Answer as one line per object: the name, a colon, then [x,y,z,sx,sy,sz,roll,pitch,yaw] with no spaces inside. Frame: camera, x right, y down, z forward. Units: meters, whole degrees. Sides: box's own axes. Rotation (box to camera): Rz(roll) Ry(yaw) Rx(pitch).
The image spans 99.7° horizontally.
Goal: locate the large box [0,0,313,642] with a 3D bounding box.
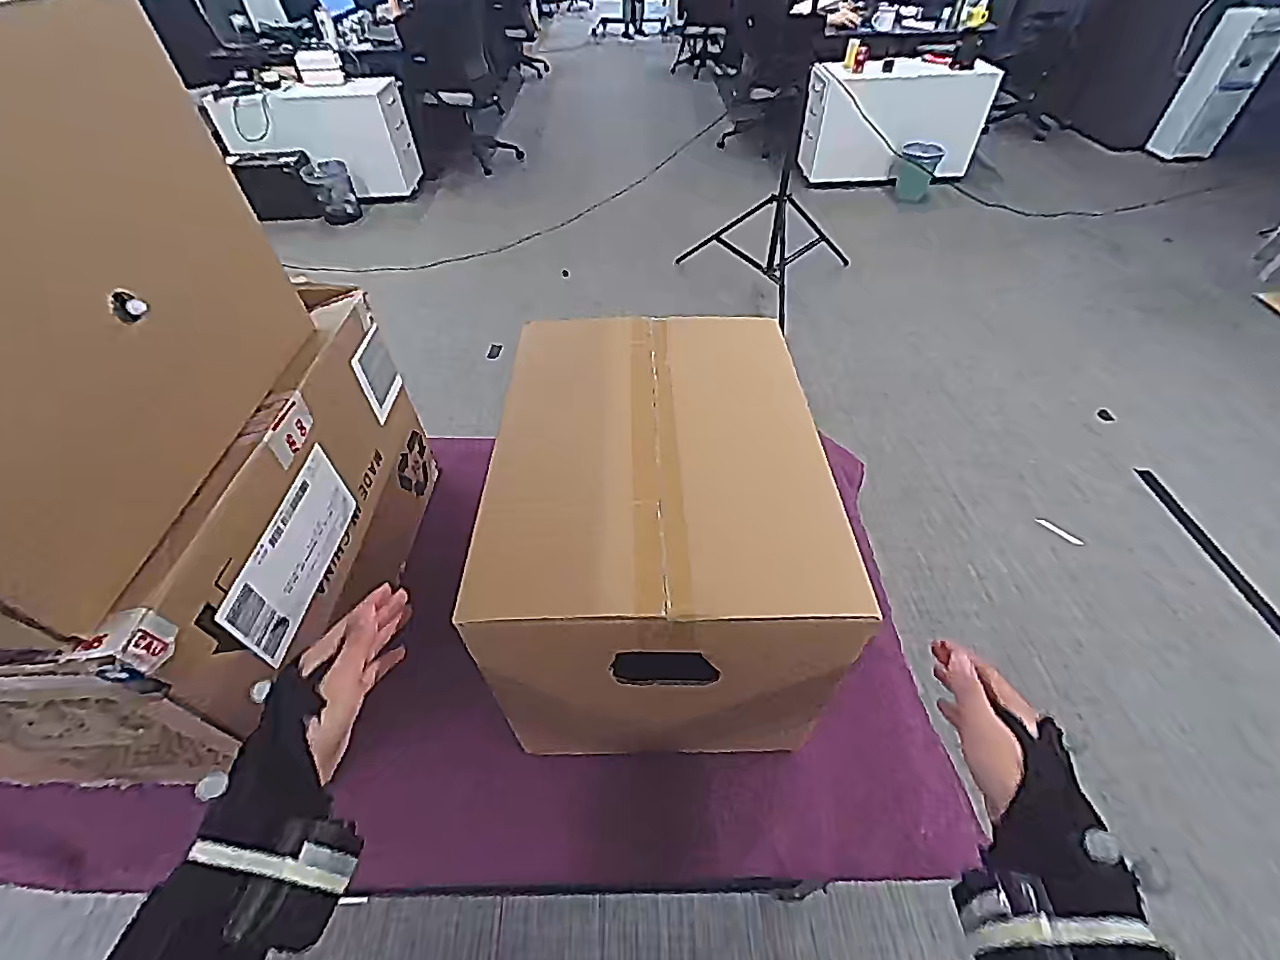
large box: [-0.528,-0.129,0.401,0.320,0.320,0.408,-3,48,1]
